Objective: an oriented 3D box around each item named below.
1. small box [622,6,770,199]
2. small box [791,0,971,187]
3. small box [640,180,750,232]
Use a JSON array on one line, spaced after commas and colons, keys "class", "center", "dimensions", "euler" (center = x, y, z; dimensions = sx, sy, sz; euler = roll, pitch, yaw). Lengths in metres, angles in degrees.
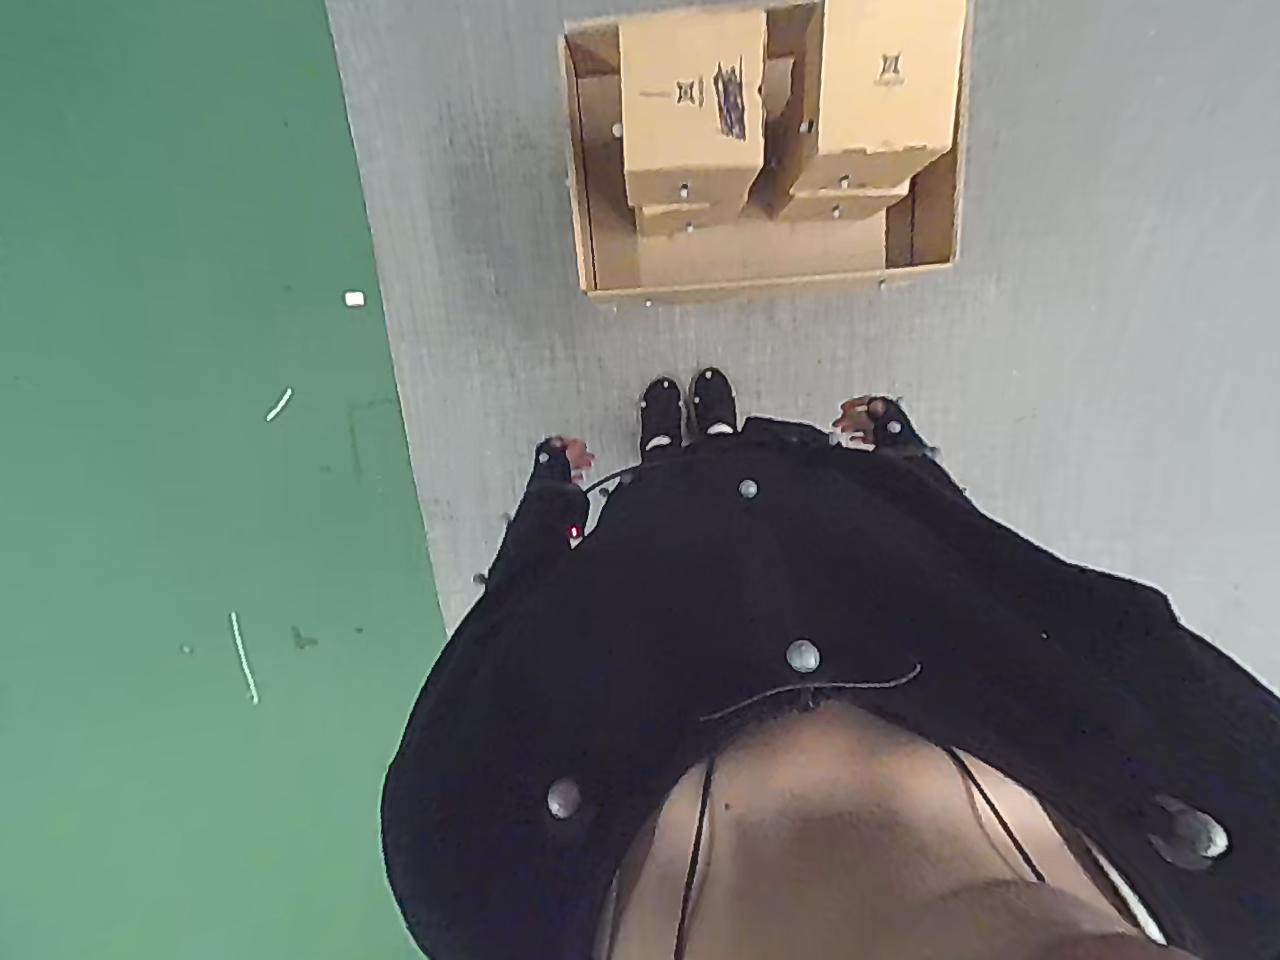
[{"class": "small box", "center": [0.068, -0.489, 0.725], "dimensions": [0.179, 0.176, 0.168], "euler": [-1, 103, 2]}, {"class": "small box", "center": [0.303, -0.511, 0.716], "dimensions": [0.168, 0.176, 0.179], "euler": [-1, 103, 3]}, {"class": "small box", "center": [0.077, -0.527, 0.884], "dimensions": [0.168, 0.176, 0.179], "euler": [-7, 103, 3]}]
